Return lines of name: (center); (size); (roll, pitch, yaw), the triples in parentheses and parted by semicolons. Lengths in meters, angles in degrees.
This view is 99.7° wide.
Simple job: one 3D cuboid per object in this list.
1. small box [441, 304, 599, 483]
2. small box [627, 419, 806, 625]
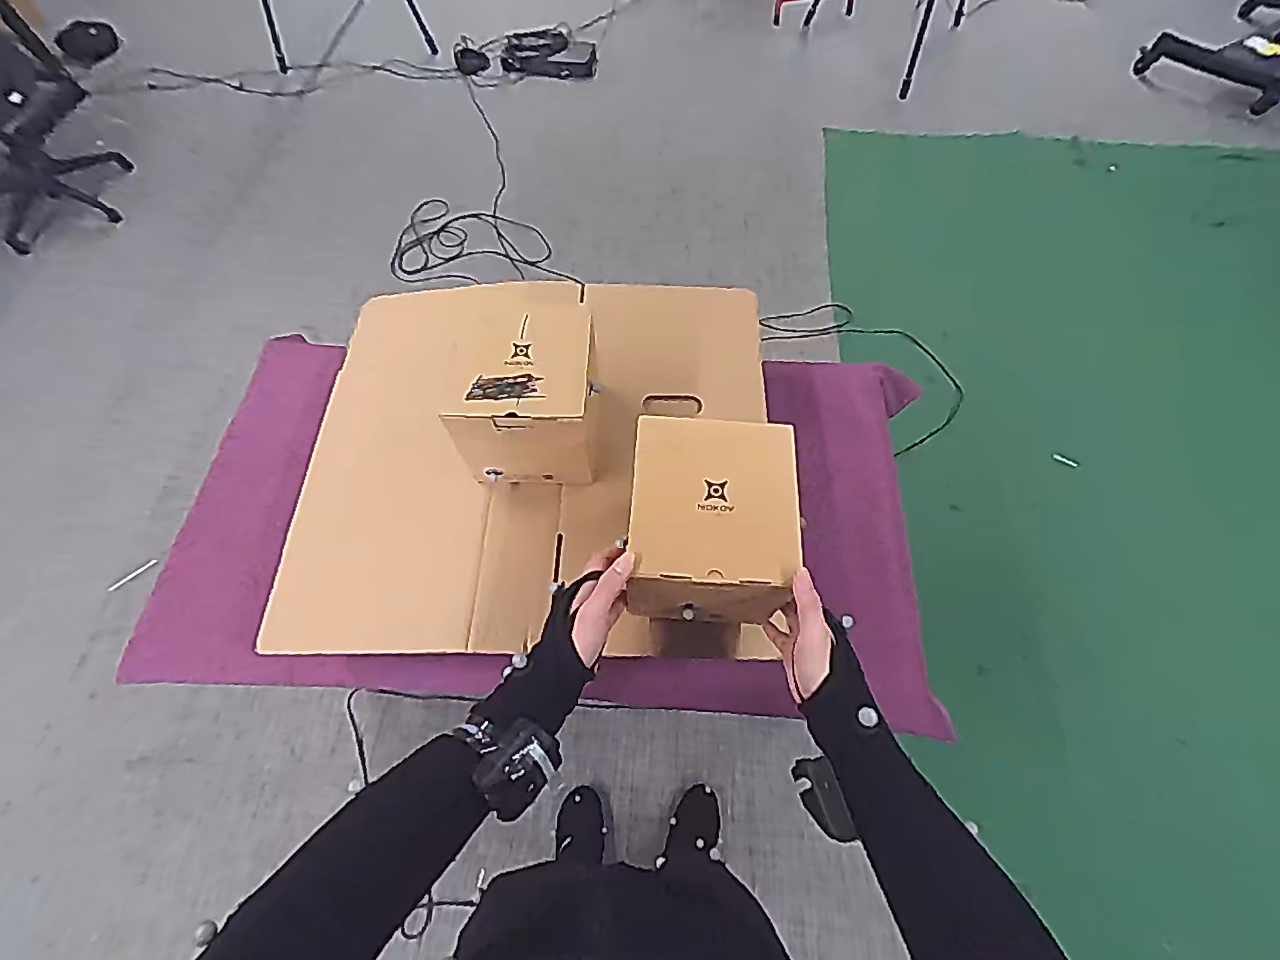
small box: (-0.142, -0.106, 0.710); (0.168, 0.176, 0.179); (1, 63, -1)
small box: (0.074, 0.053, 0.604); (0.168, 0.176, 0.179); (4, 65, 0)
